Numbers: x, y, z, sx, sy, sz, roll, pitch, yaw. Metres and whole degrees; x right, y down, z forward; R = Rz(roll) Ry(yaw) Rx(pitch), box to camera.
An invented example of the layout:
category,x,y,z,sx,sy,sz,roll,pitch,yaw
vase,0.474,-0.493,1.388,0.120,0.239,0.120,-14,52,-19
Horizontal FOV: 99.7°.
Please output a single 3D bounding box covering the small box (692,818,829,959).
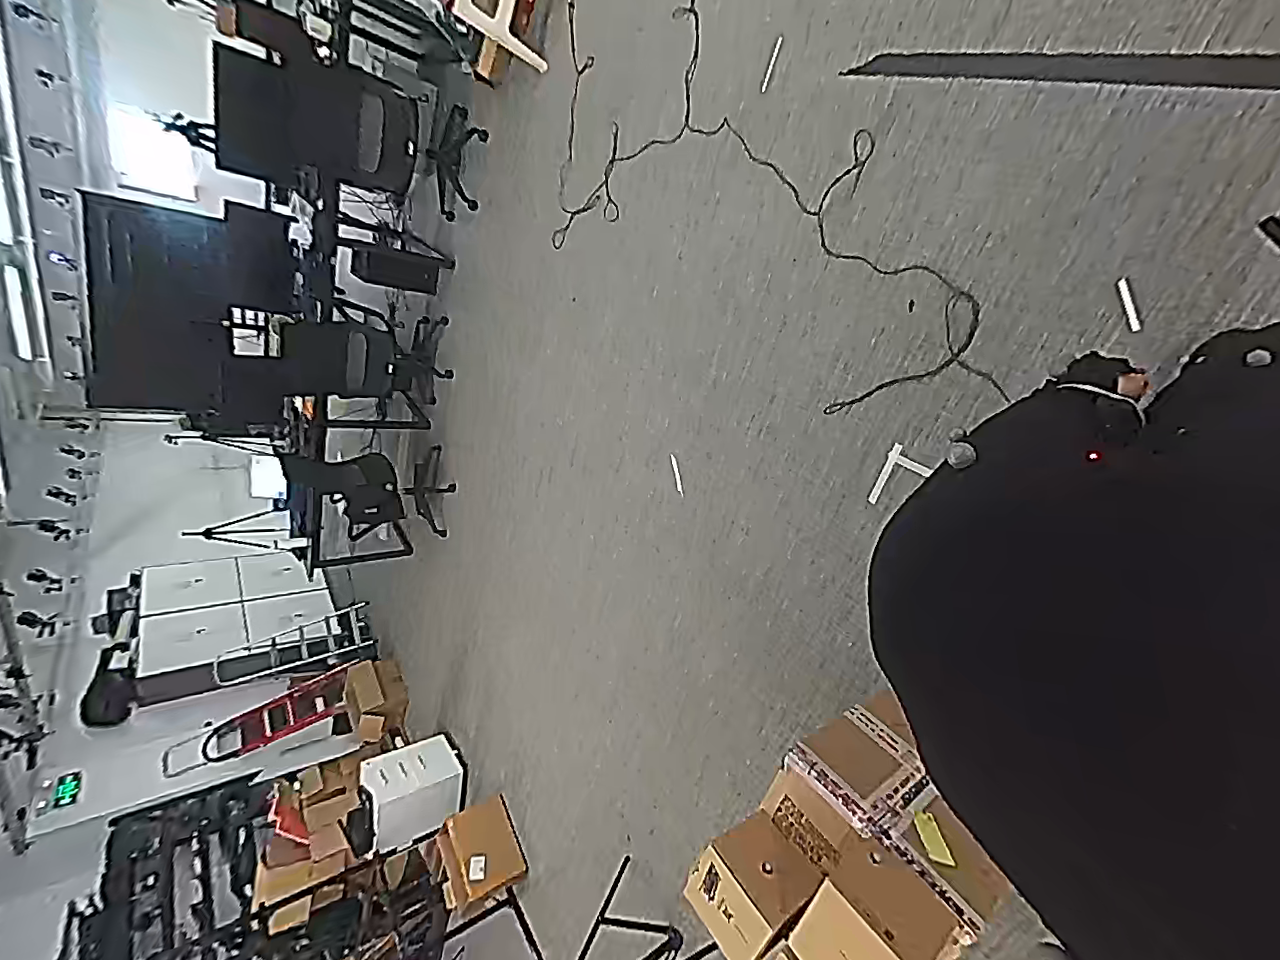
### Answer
category,x,y,z,sx,sy,sz,roll,pitch,yaw
small box,0.243,0.828,1.100,0.179,0.176,0.168,40,121,42
